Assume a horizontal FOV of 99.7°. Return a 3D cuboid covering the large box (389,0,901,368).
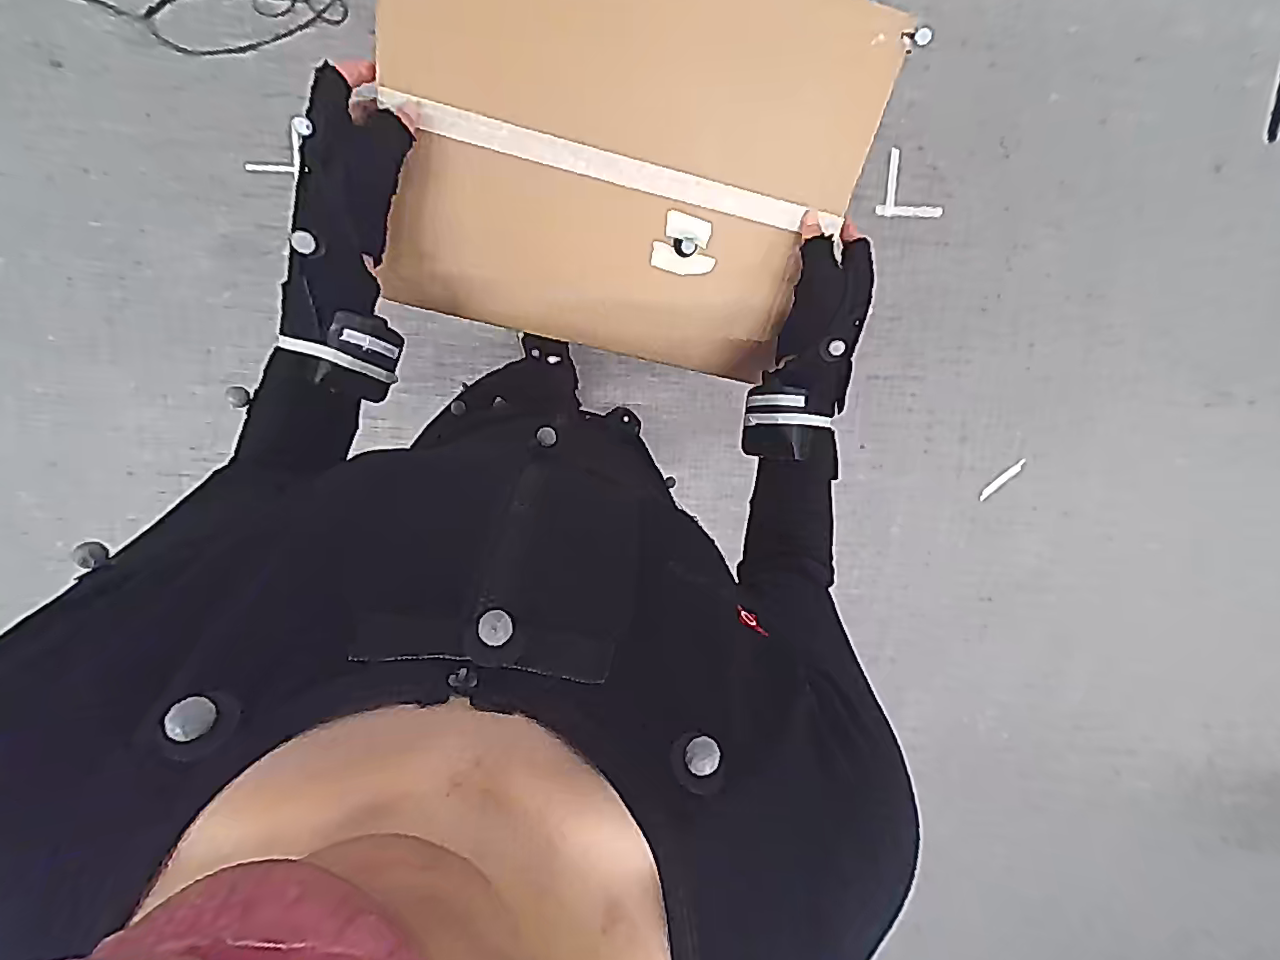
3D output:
[{"bbox_3d":[-0.024,-0.347,0.603,0.408,0.320,0.320,9,118,-10],"label":"large box"}]
